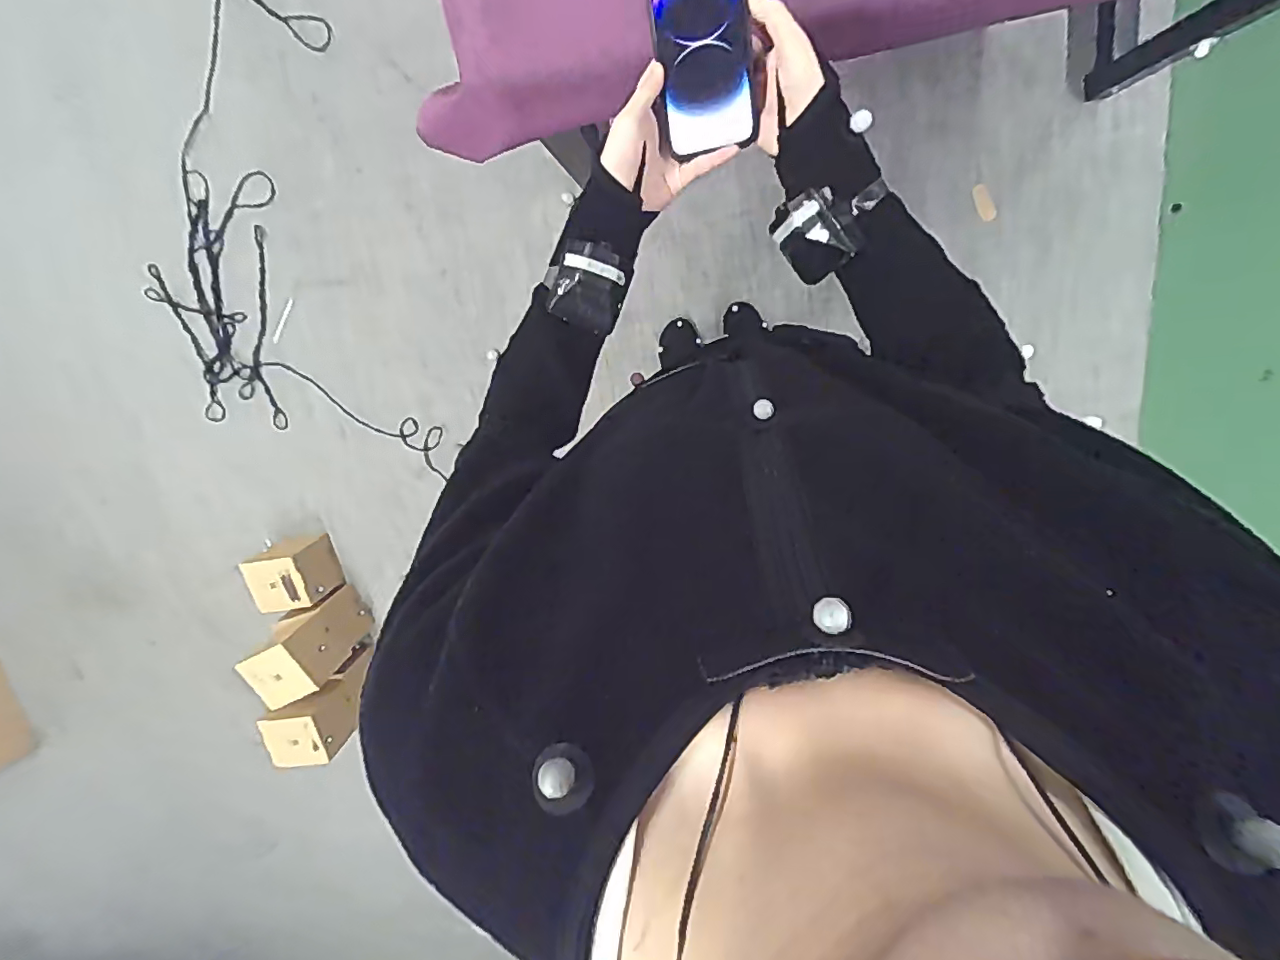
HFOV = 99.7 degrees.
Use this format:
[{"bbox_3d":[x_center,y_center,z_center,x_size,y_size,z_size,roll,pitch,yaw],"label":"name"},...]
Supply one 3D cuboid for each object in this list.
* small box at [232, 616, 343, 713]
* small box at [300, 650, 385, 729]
[{"bbox_3d":[-0.979,0.514,1.527,0.179,0.176,0.168,-26,104,13],"label":"small box"},{"bbox_3d":[-0.961,0.667,1.744,0.168,0.176,0.179,-8,107,8],"label":"small box"}]
